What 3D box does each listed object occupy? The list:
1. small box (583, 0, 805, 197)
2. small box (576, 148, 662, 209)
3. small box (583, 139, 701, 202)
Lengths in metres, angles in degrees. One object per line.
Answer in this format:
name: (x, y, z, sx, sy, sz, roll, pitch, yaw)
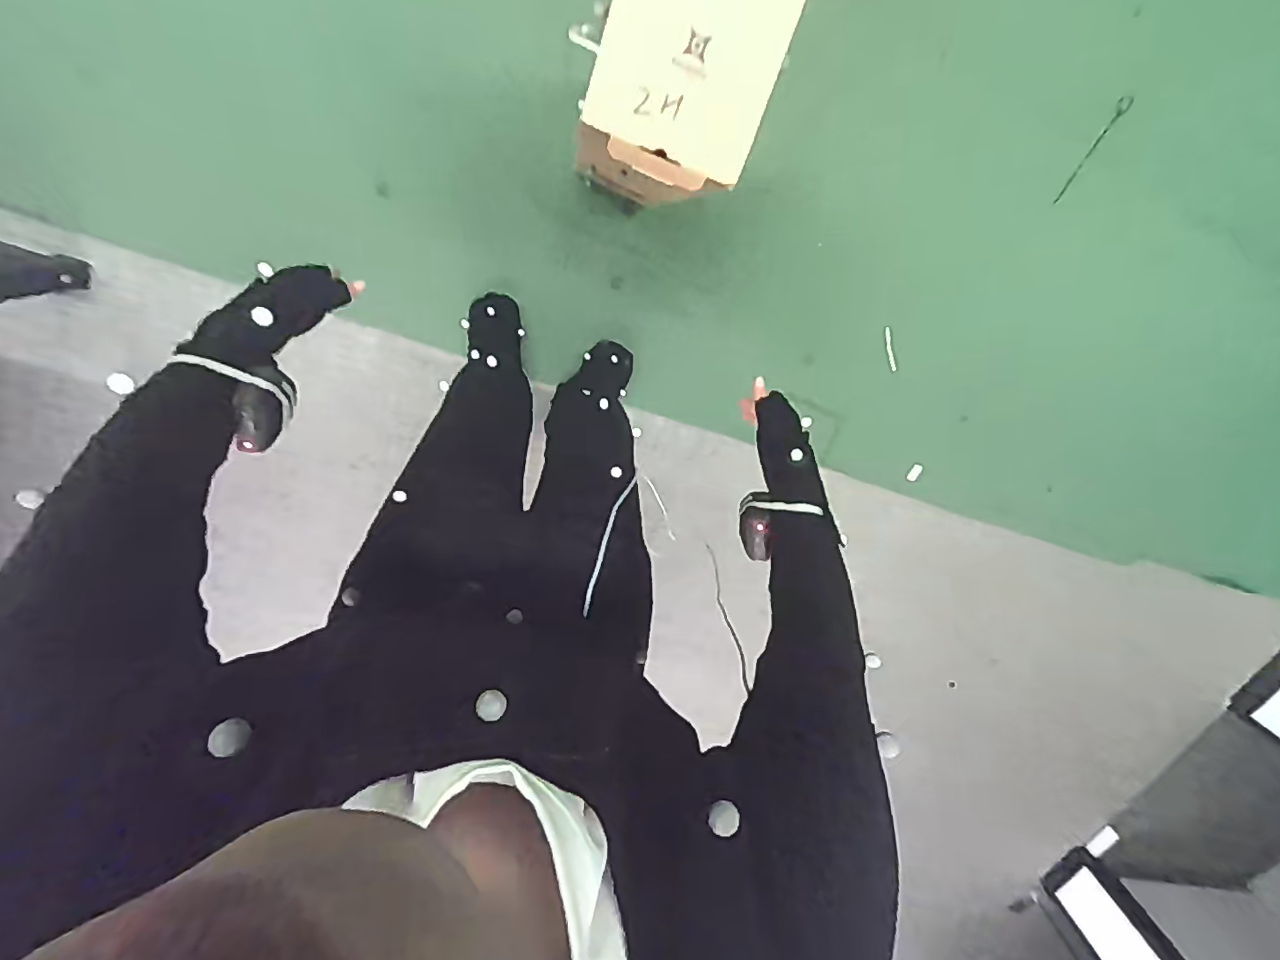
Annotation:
small box: (0.039, -0.427, 0.580, 0.168, 0.176, 0.179, 16, 112, -14)
small box: (-0.014, -0.634, 1.024, 0.168, 0.176, 0.179, 19, 111, -16)
small box: (0.024, -0.498, 0.728, 0.168, 0.176, 0.179, 17, 112, -15)
